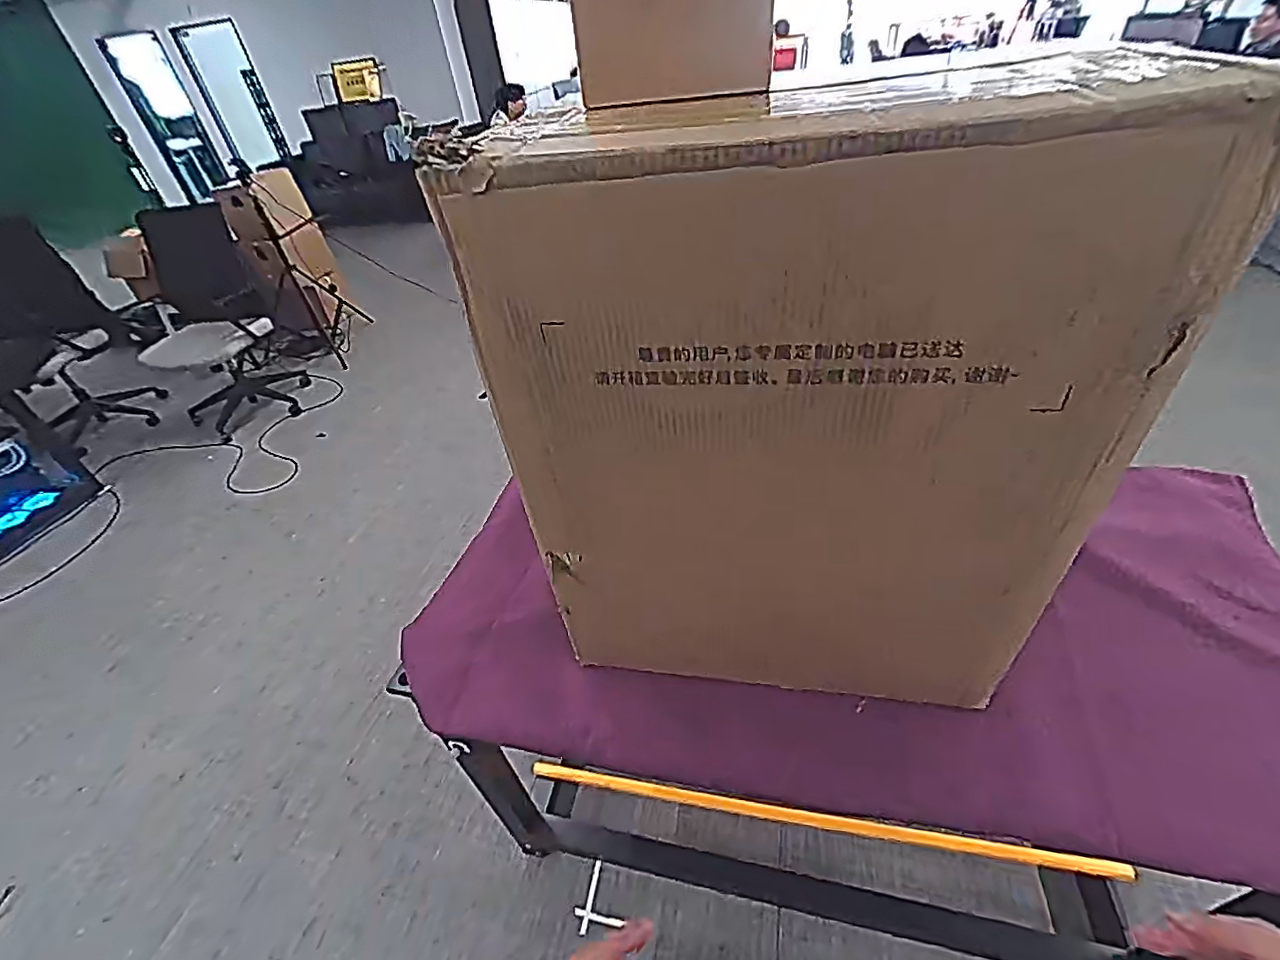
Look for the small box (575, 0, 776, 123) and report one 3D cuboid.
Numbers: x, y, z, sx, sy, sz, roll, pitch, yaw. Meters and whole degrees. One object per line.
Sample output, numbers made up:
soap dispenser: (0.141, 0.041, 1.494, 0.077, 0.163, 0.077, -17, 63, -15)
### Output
small box: (0.033, -0.442, 0.490, 0.168, 0.176, 0.179, 1, 40, 8)
